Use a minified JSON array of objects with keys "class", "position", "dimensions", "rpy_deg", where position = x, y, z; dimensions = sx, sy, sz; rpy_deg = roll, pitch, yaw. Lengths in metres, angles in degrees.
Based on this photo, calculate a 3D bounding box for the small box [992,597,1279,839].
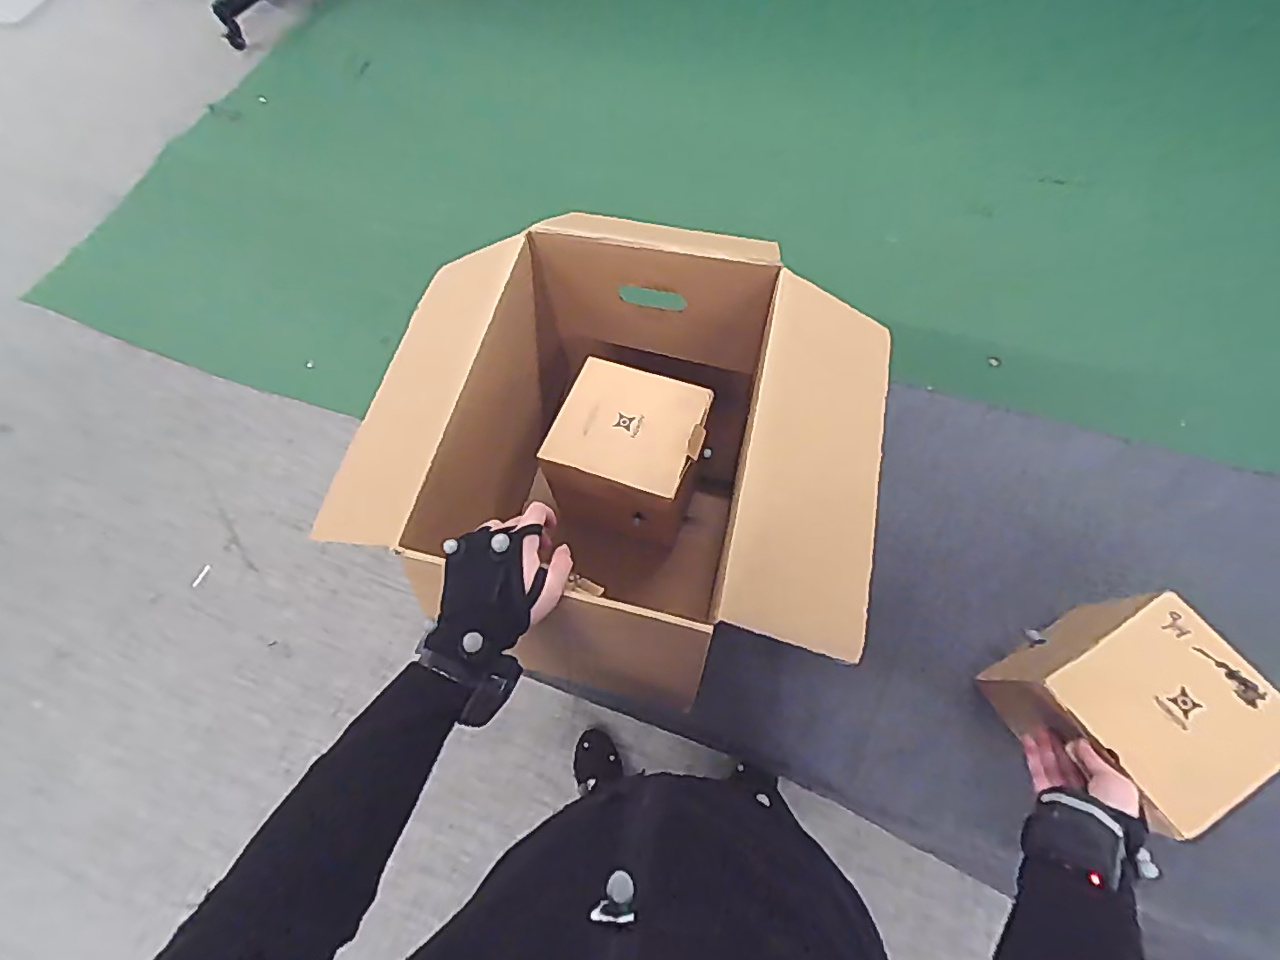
[{"class":"small box","position":[0.542,0.259,0.611],"dimensions":[0.179,0.176,0.168],"rpy_deg":[-31,68,-5]}]
